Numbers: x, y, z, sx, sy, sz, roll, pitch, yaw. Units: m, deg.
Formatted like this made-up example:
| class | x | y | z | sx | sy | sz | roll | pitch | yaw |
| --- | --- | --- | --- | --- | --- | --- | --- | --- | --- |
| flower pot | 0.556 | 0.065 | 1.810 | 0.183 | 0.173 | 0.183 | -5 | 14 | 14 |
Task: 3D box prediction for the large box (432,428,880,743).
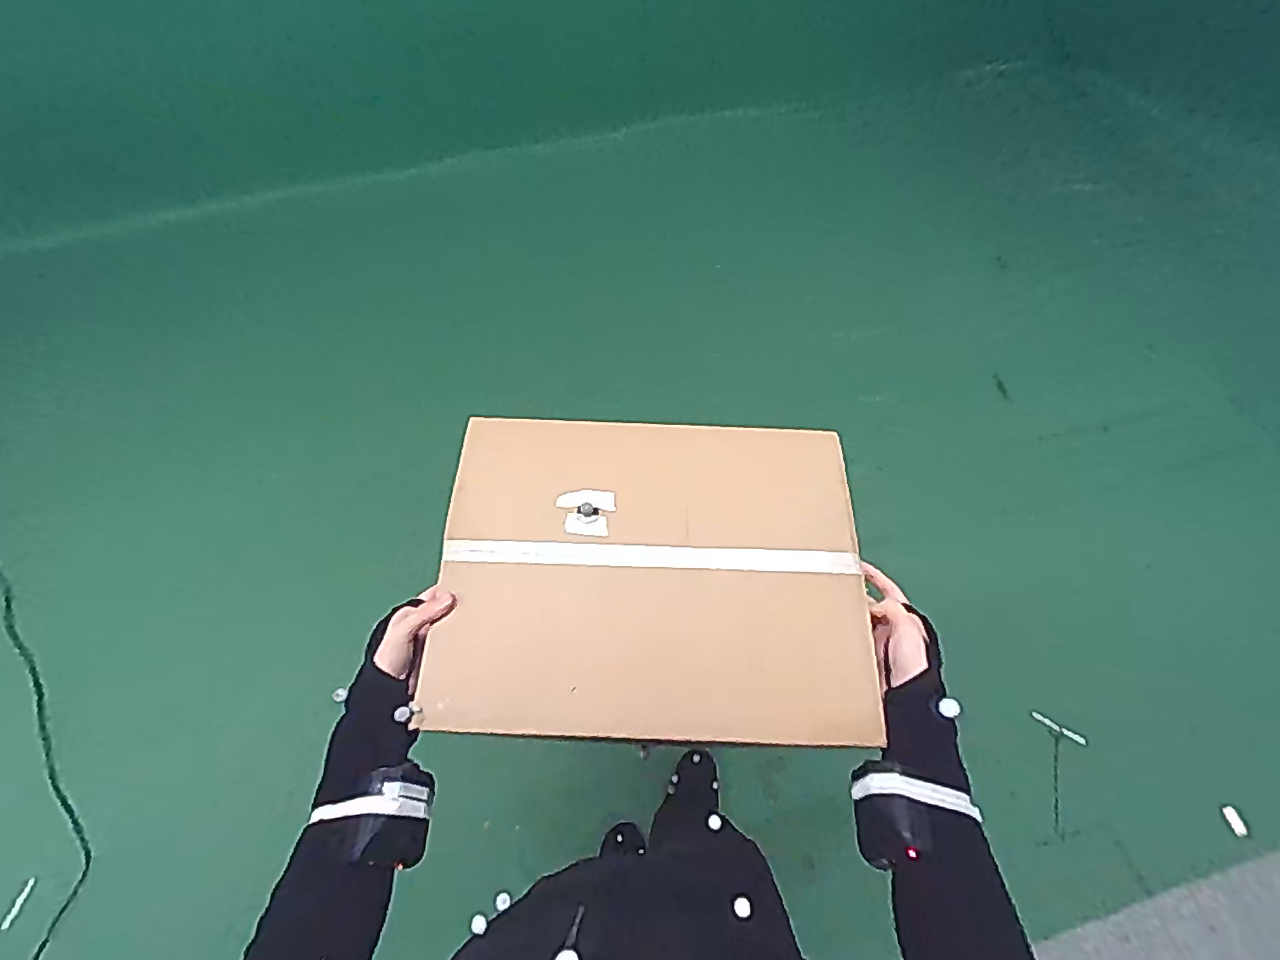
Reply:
| class | x | y | z | sx | sy | sz | roll | pitch | yaw |
| --- | --- | --- | --- | --- | --- | --- | --- | --- | --- |
| large box | 0.020 | 0.149 | 0.673 | 0.408 | 0.320 | 0.320 | 2 | 62 | 1 |
